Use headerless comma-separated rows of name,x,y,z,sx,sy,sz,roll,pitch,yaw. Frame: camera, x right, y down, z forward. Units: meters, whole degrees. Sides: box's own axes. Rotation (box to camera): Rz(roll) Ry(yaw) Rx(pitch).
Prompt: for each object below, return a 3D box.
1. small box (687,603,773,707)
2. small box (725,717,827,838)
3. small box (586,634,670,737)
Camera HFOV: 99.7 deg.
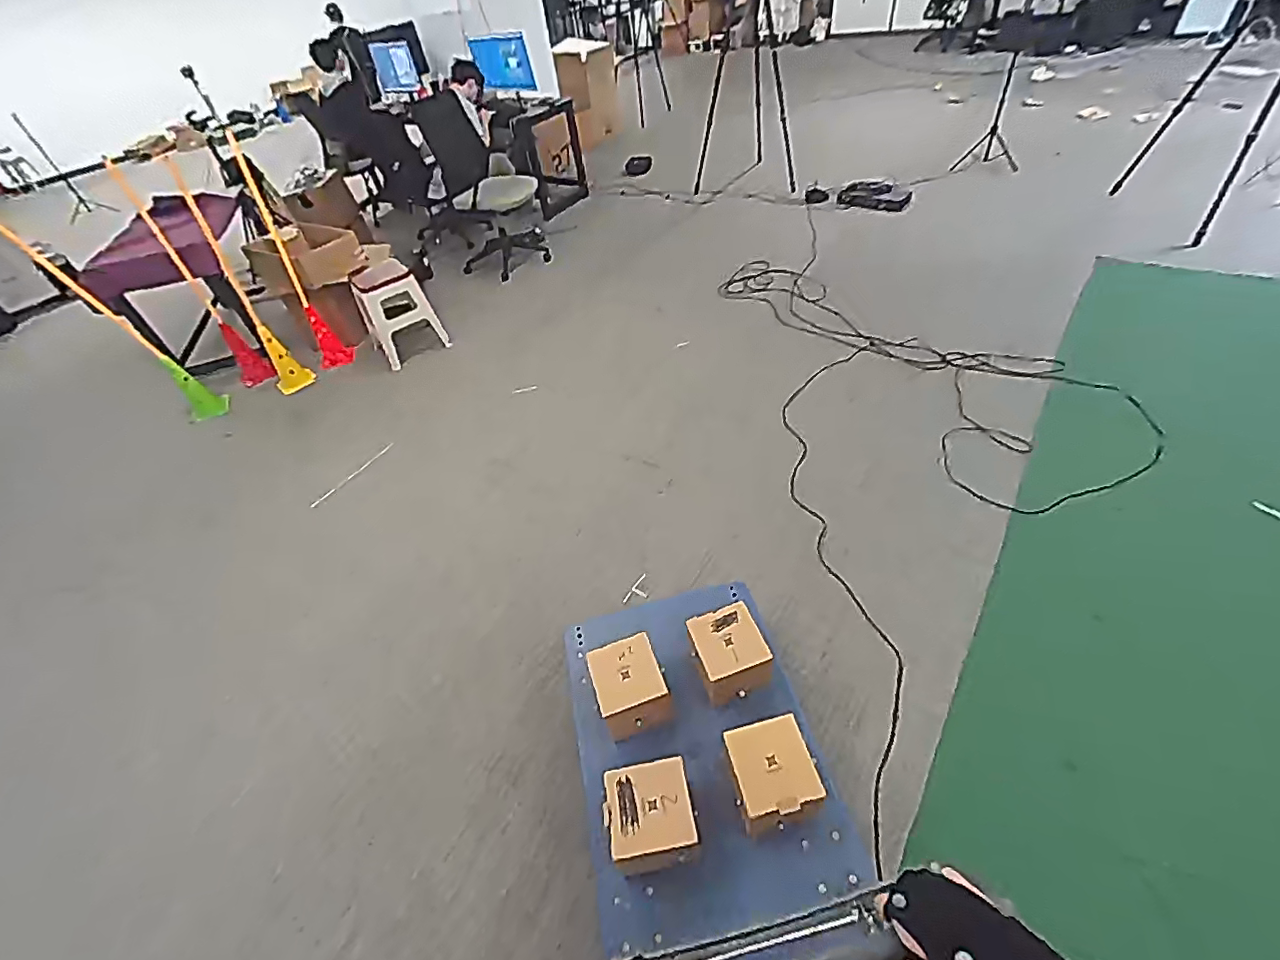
small box,0.230,0.458,1.409,0.168,0.176,0.179,-18,47,-7
small box,0.290,0.661,1.202,0.168,0.176,0.179,-13,46,-4
small box,-0.027,0.530,1.379,0.168,0.176,0.179,-17,46,-8
